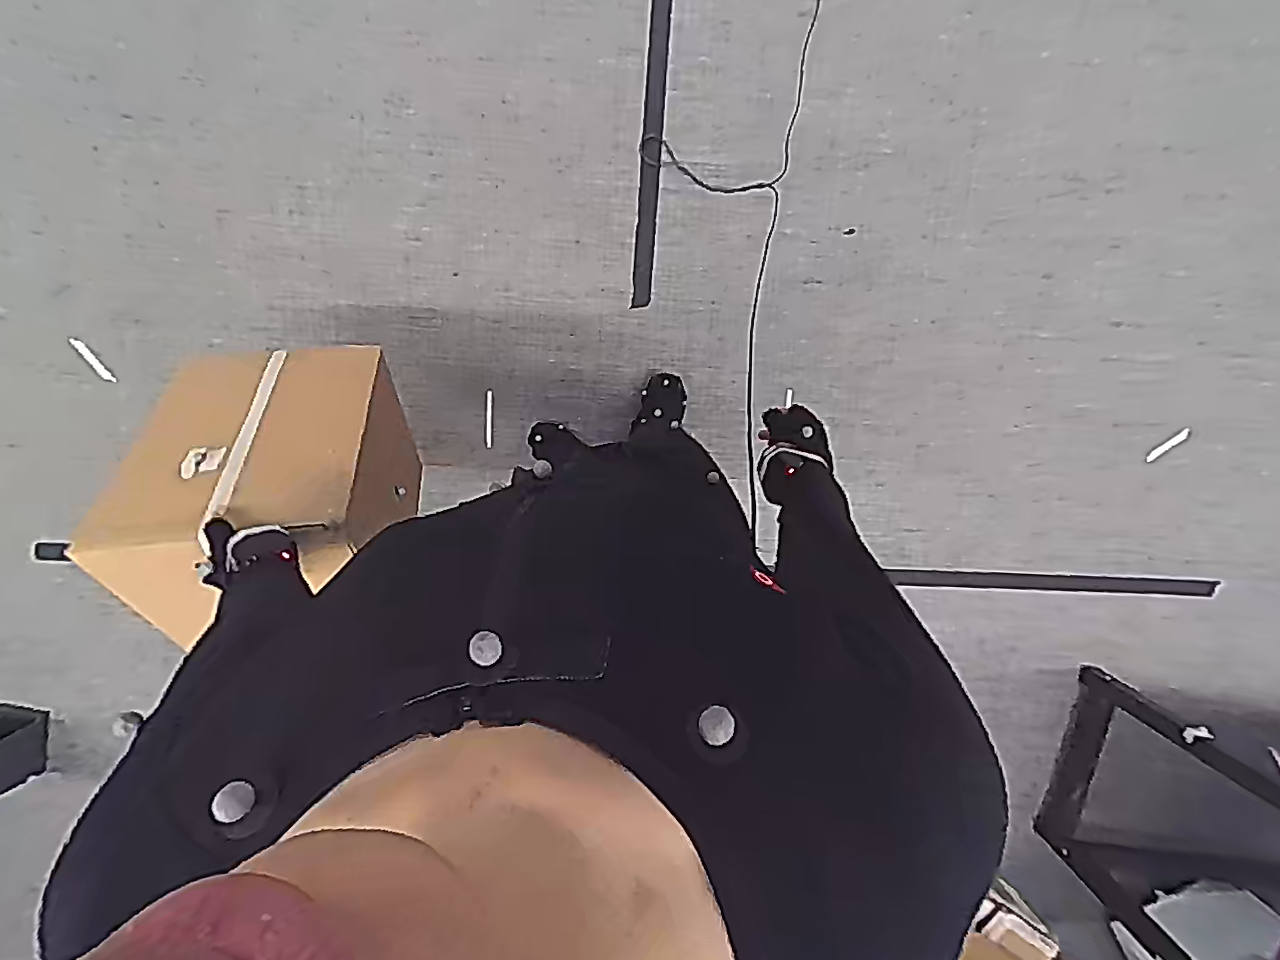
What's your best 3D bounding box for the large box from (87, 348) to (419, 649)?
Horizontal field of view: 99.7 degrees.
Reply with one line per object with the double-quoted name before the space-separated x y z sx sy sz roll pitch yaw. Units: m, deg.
"large box" -0.580 0.021 0.924 0.320 0.408 0.320 -6 139 -9
